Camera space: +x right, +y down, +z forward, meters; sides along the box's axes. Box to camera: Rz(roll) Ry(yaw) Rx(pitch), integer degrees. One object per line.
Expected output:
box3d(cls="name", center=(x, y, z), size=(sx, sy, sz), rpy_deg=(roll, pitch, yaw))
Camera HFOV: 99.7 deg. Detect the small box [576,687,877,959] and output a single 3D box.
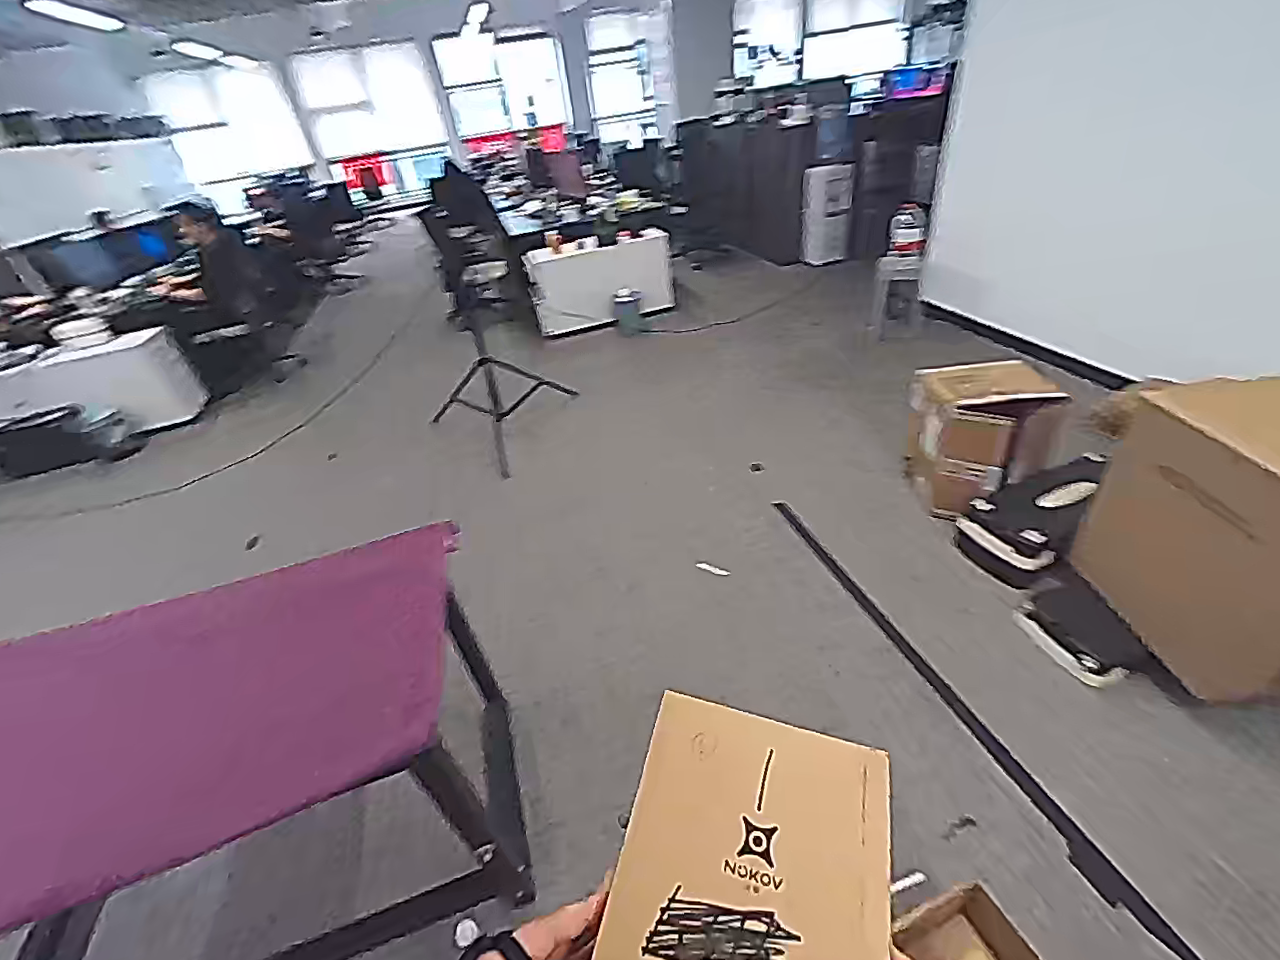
box3d(cls="small box", center=(0.067, 0.289, 0.401), size=(0.168, 0.176, 0.179), rpy_deg=(11, 48, 12))
